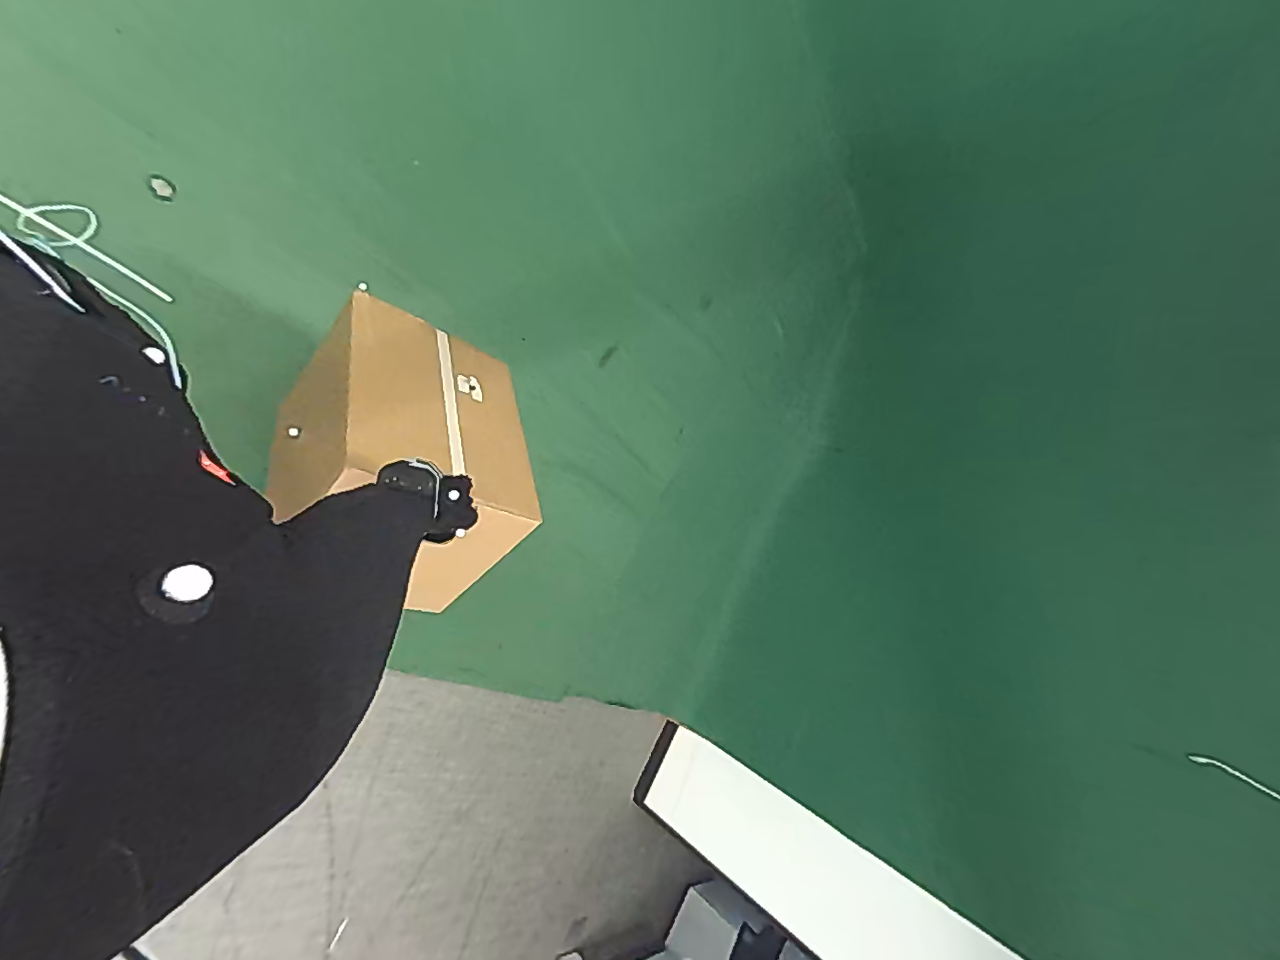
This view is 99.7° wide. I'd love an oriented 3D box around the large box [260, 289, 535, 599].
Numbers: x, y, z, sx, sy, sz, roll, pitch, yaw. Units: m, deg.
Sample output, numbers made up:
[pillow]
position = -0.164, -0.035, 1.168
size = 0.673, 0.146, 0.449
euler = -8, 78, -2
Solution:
[large box]
position = -0.436, -0.044, 0.970
size = 0.320, 0.408, 0.320
euler = -40, 141, 24
